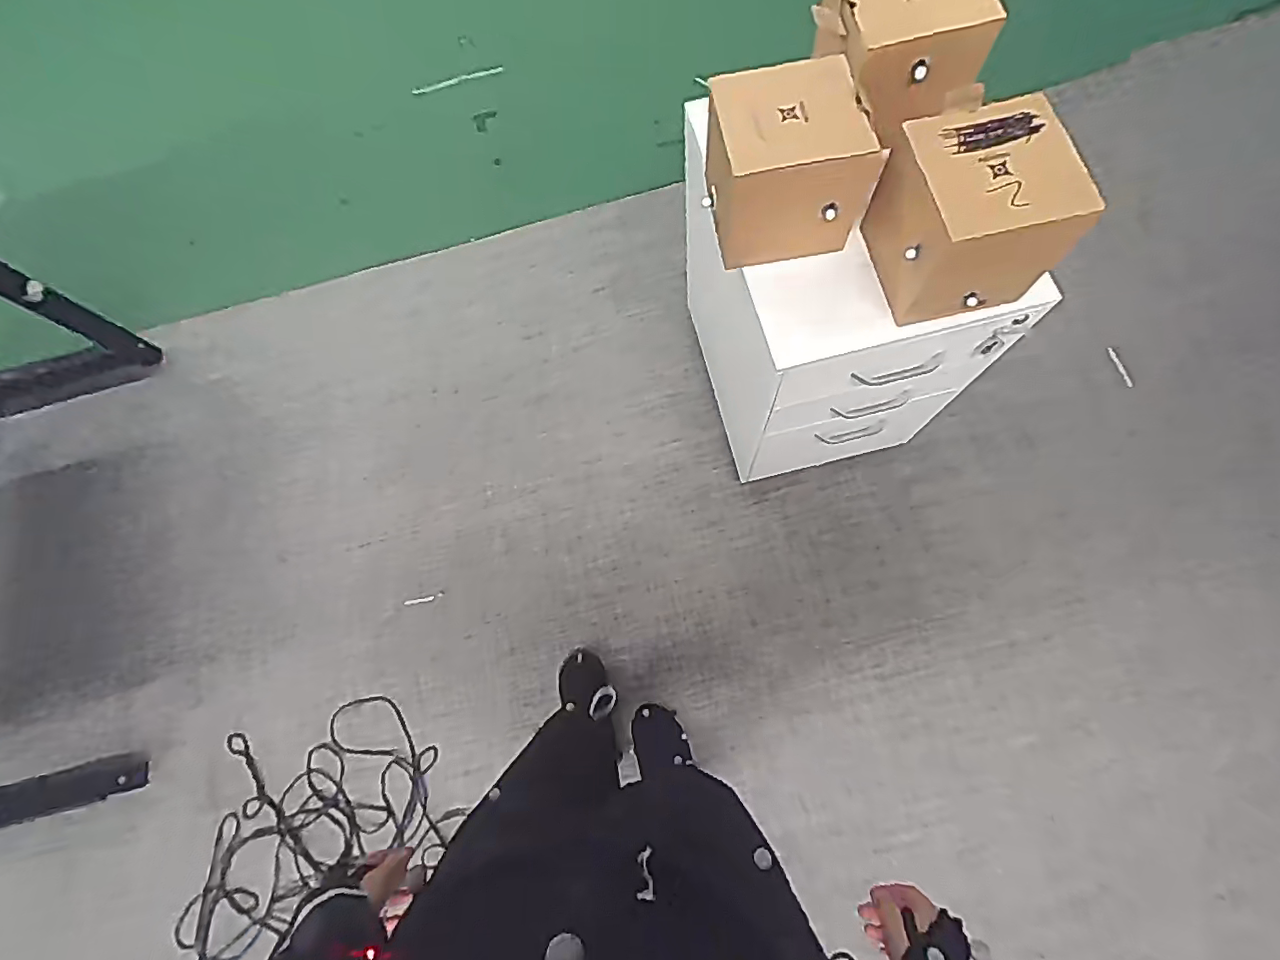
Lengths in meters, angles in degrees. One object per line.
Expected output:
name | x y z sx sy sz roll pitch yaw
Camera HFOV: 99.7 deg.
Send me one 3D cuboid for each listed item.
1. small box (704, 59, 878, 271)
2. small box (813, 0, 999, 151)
small box | 0.188 -0.412 0.730 0.179 0.176 0.168 -10 71 2
small box | 0.357 -0.601 0.772 0.179 0.176 0.168 -11 73 2
